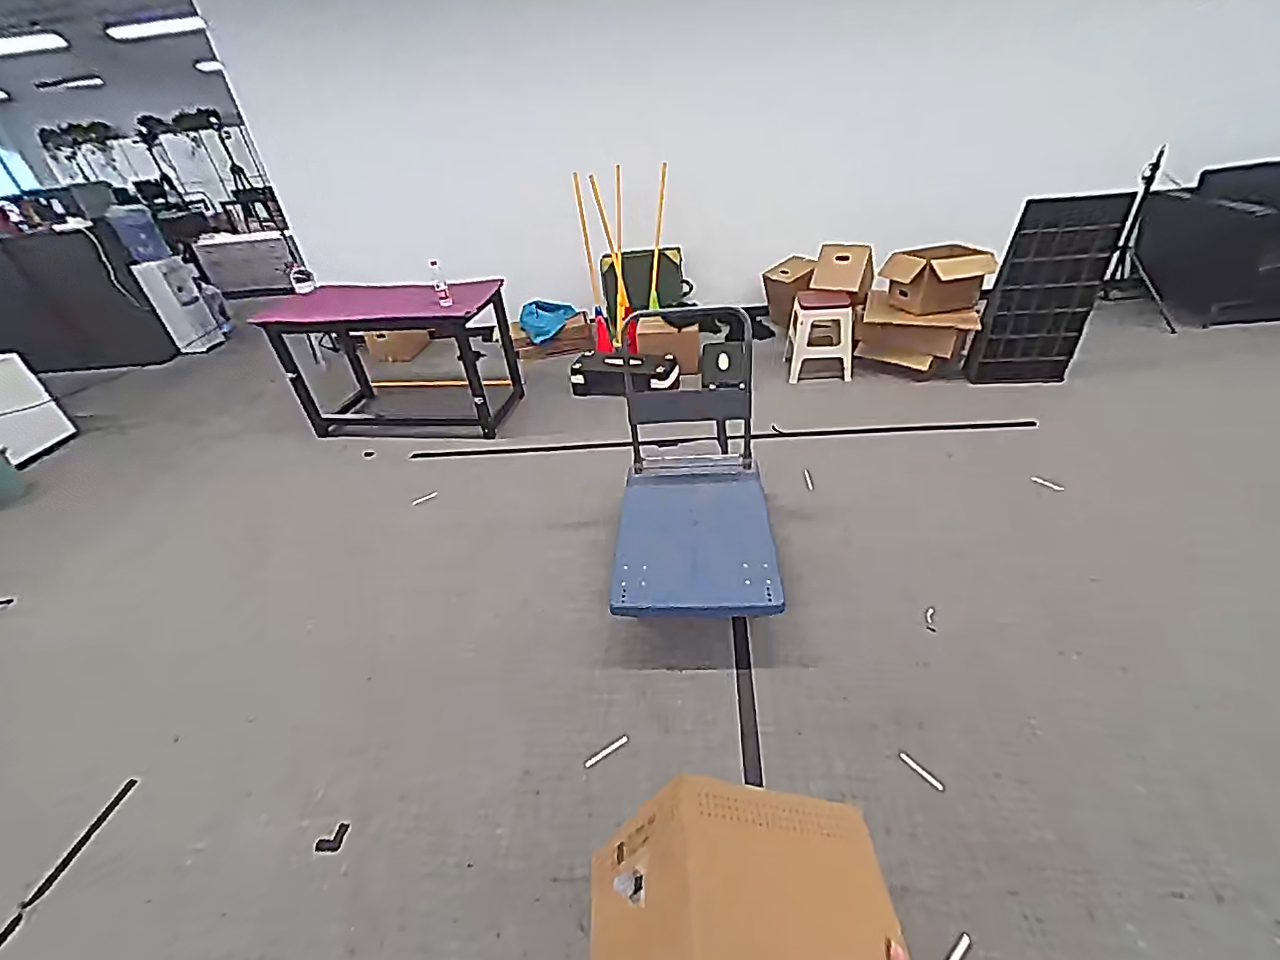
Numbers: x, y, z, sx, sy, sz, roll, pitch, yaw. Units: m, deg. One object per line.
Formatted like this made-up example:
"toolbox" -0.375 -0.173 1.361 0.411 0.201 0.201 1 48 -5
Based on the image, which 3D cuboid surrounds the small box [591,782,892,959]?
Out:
"small box" 0.072 0.354 0.407 0.179 0.168 0.176 20 33 -17
